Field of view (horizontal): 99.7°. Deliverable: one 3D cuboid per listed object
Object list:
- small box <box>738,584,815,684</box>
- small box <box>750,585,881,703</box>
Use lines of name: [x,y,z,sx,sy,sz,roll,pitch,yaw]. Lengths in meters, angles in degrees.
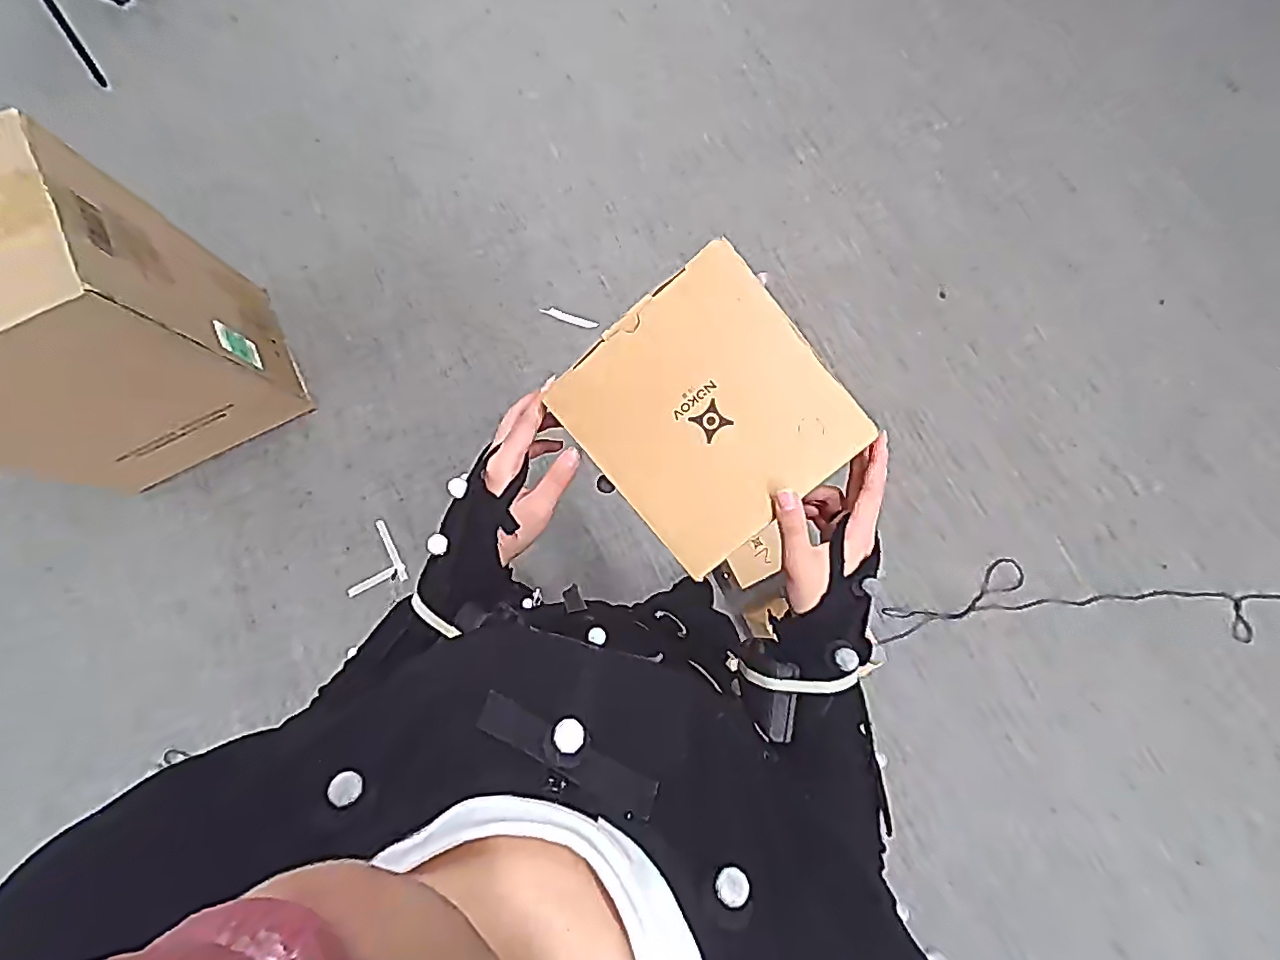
small box: [0.353,0.353,1.277,0.179,0.176,0.168,-26,80,-2]
small box: [0.349,0.325,1.115,0.179,0.176,0.168,-27,80,-3]
